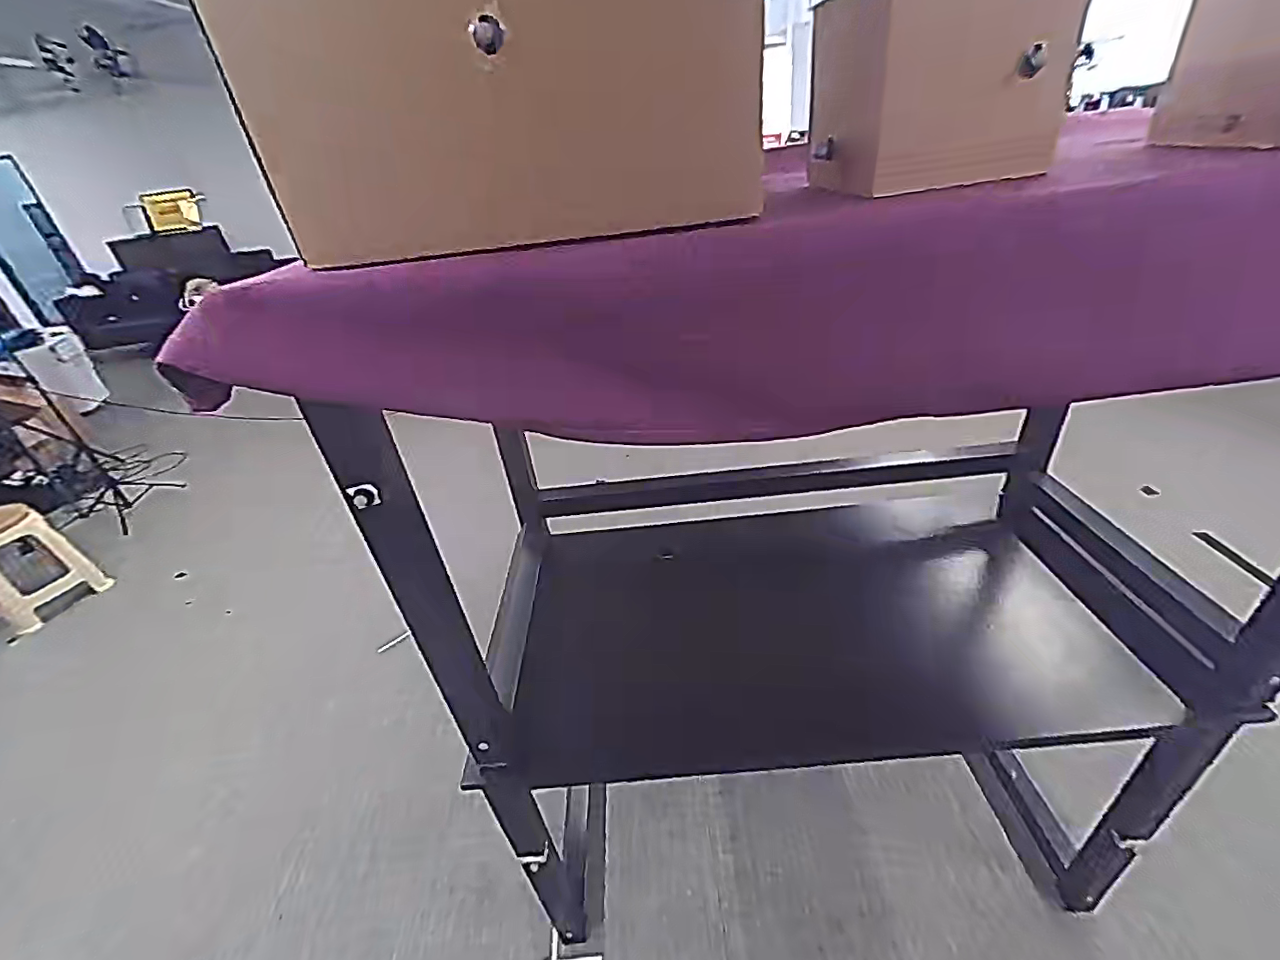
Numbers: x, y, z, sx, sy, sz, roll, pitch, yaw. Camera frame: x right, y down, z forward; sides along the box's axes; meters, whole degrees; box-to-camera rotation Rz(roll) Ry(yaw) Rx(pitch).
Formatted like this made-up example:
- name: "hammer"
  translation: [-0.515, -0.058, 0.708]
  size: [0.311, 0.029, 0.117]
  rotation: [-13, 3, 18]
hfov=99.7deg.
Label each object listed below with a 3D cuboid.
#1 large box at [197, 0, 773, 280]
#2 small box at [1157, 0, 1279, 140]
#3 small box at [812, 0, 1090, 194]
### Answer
- name: "large box"
  translation: [-0.109, -0.405, 0.511]
  size: [0.408, 0.320, 0.320]
  rotation: [-7, 32, 3]
- name: "small box"
  translation: [0.626, -0.407, 0.470]
  size: [0.179, 0.176, 0.168]
  rotation: [-4, 32, 6]
- name: "small box"
  translation: [0.281, -0.388, 0.523]
  size: [0.179, 0.176, 0.168]
  rotation: [-10, 32, -2]
